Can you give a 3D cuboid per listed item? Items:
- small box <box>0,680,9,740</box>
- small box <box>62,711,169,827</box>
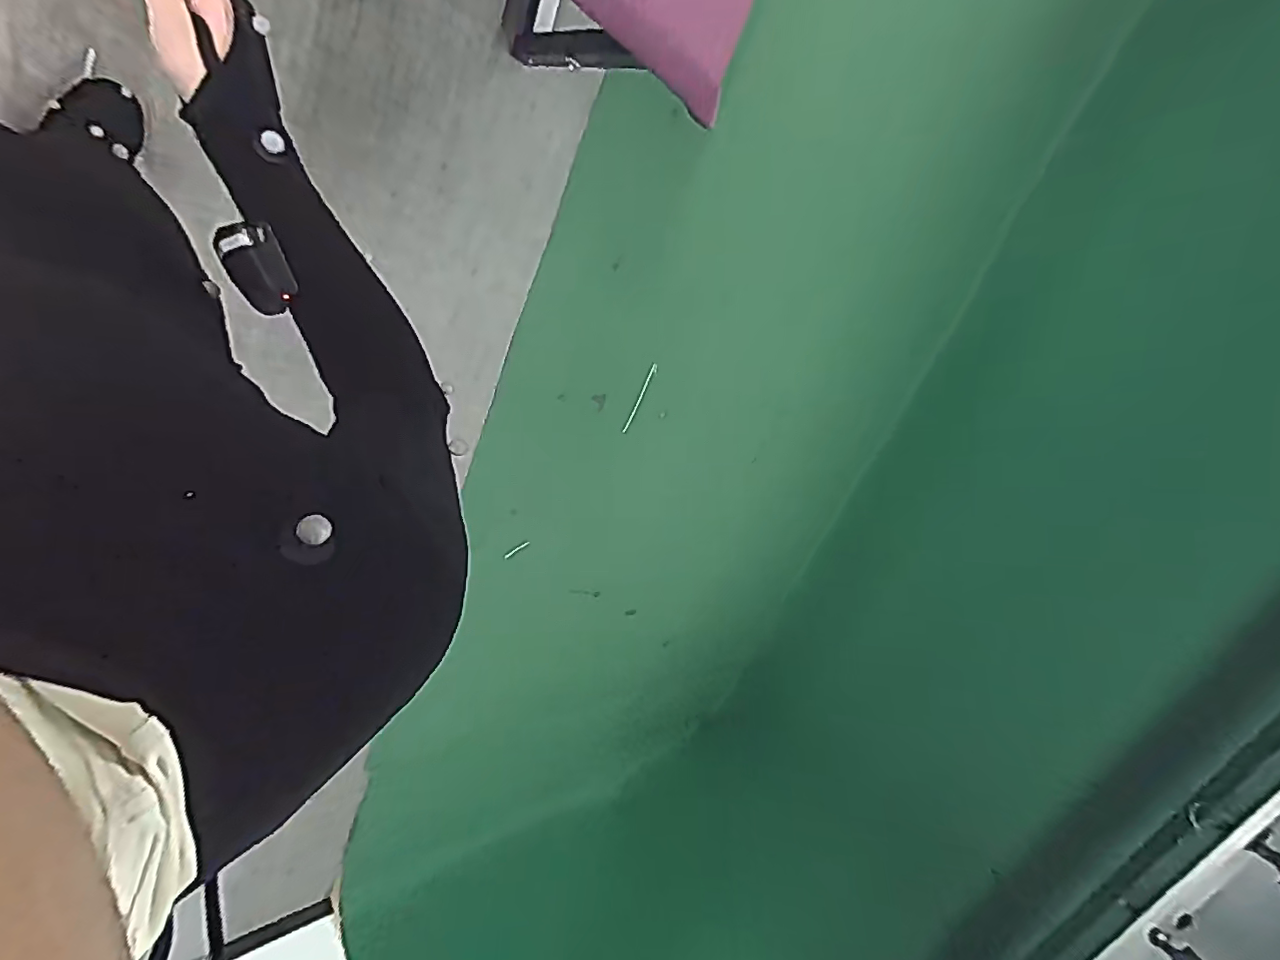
[{"bbox_3d":[-1.592,0.593,1.242,0.168,0.176,0.179,10,112,-50],"label":"small box"},{"bbox_3d":[-1.309,0.715,1.356,0.168,0.176,0.179,12,111,-48],"label":"small box"}]
